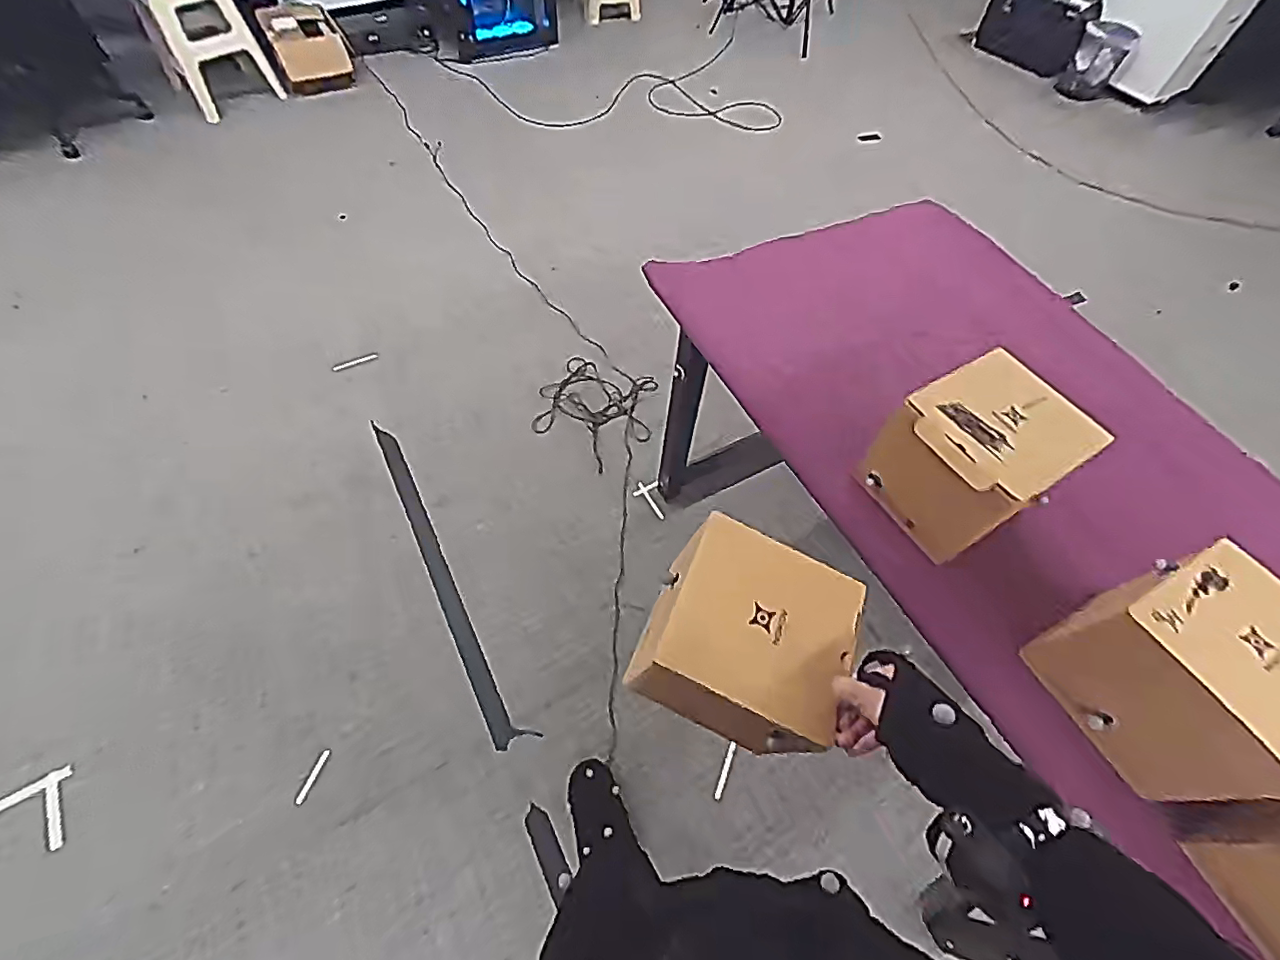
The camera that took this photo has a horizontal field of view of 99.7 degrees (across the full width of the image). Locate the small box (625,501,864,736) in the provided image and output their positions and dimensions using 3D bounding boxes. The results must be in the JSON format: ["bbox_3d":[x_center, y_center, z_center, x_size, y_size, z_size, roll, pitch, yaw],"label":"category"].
[{"bbox_3d":[0.100,0.157,0.574,0.179,0.176,0.168,27,60,0],"label":"small box"}]

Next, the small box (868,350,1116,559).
[{"bbox_3d":[0.420,-0.026,0.685,0.179,0.176,0.168,-26,64,-18],"label":"small box"}]
